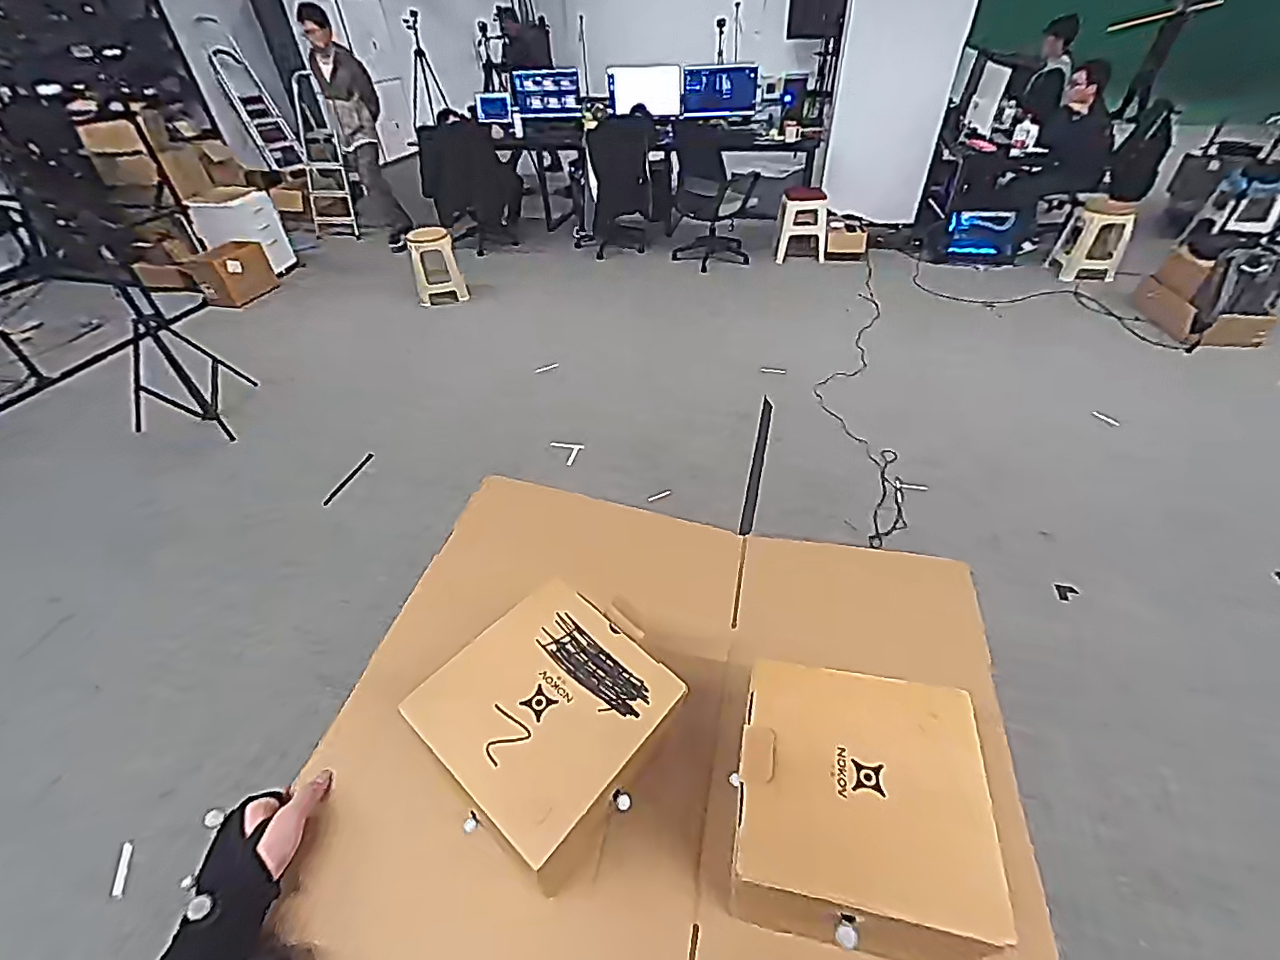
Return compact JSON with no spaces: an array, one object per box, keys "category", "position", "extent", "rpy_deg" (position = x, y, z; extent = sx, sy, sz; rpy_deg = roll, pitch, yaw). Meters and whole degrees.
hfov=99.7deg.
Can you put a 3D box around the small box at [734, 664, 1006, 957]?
[{"category":"small box","position":[0.180,0.288,0.475],"extent":[0.179,0.176,0.168],"rpy_deg":[4,45,15]}]
